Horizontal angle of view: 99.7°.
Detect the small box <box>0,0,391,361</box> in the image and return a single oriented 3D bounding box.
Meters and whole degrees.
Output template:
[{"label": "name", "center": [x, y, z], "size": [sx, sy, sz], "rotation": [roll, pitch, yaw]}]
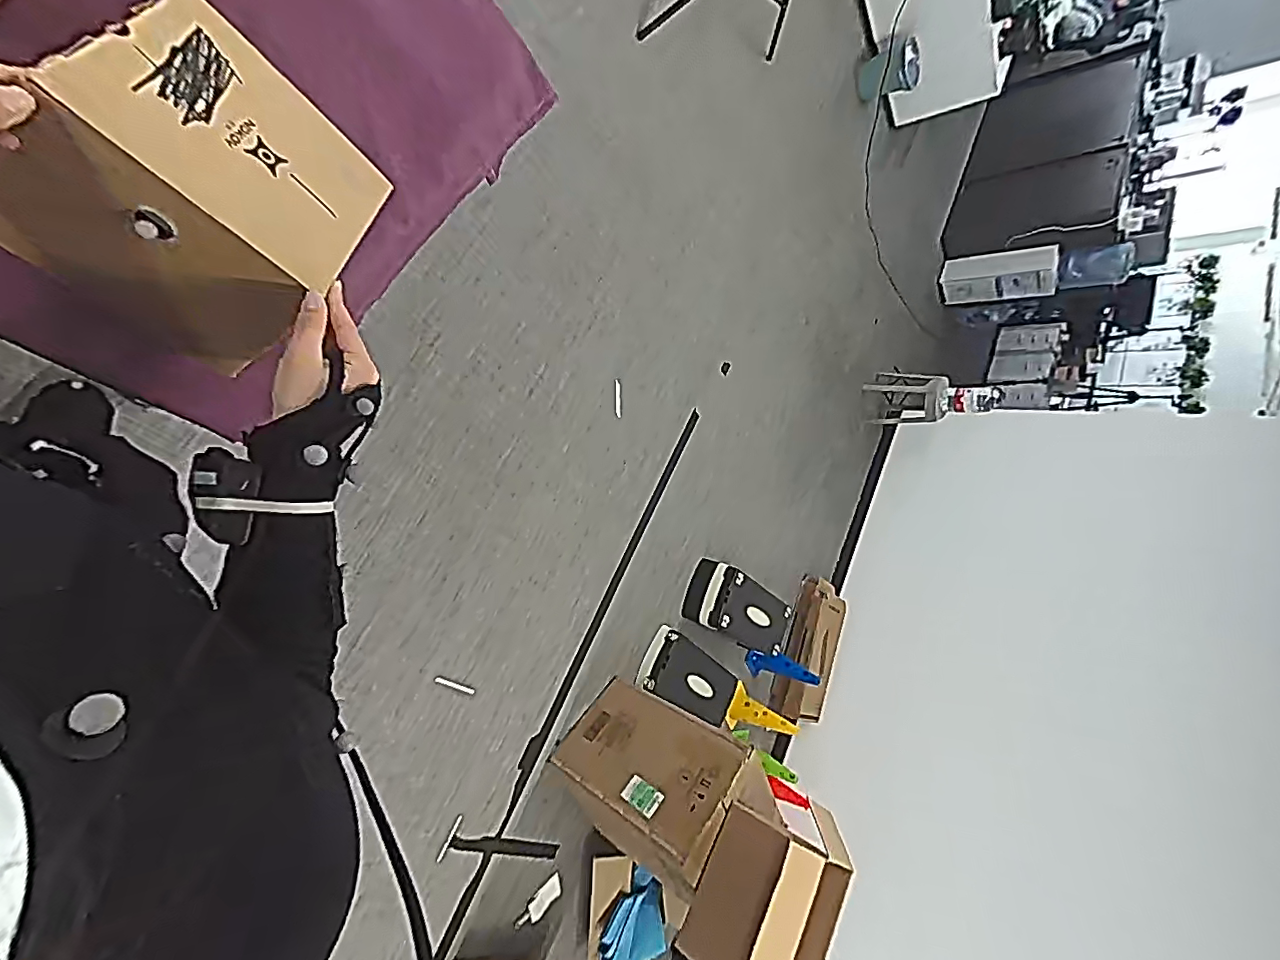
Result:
[{"label": "small box", "center": [-0.351, -0.229, 0.442], "size": [0.179, 0.176, 0.168], "rotation": [42, 42, -42]}]
